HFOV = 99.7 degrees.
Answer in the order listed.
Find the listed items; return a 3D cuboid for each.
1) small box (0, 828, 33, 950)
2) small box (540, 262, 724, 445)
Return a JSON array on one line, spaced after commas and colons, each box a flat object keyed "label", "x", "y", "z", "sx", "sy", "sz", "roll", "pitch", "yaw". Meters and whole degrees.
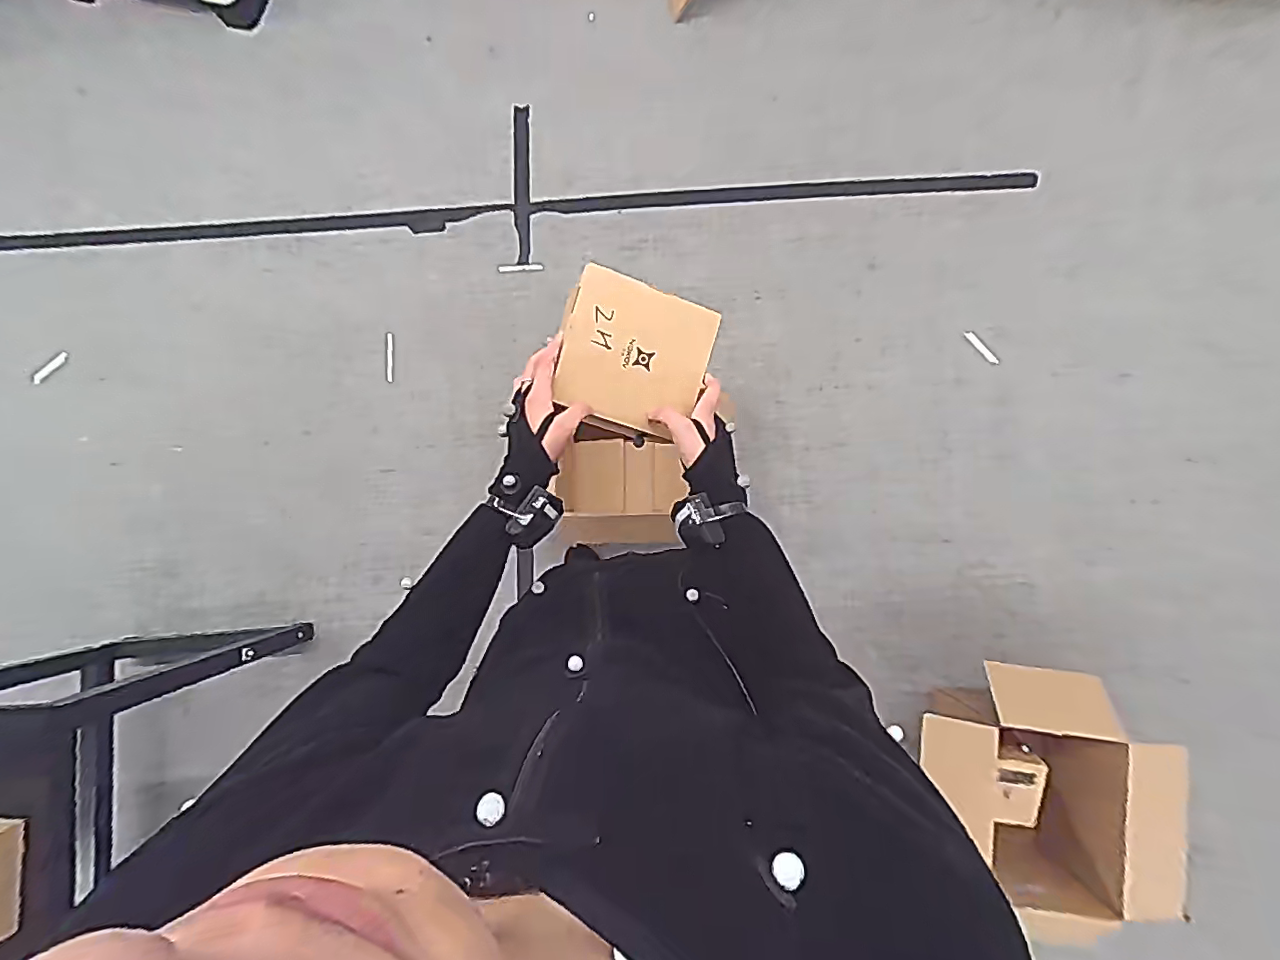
[{"label": "small box", "x": -1.077, "y": 0.646, "z": 0.806, "sx": 0.168, "sy": 0.176, "sz": 0.179, "roll": -1, "pitch": 87, "yaw": 3}, {"label": "small box", "x": -0.021, "y": -0.151, "z": 0.700, "sx": 0.179, "sy": 0.176, "sz": 0.168, "roll": 17, "pitch": 91, "yaw": -14}]
